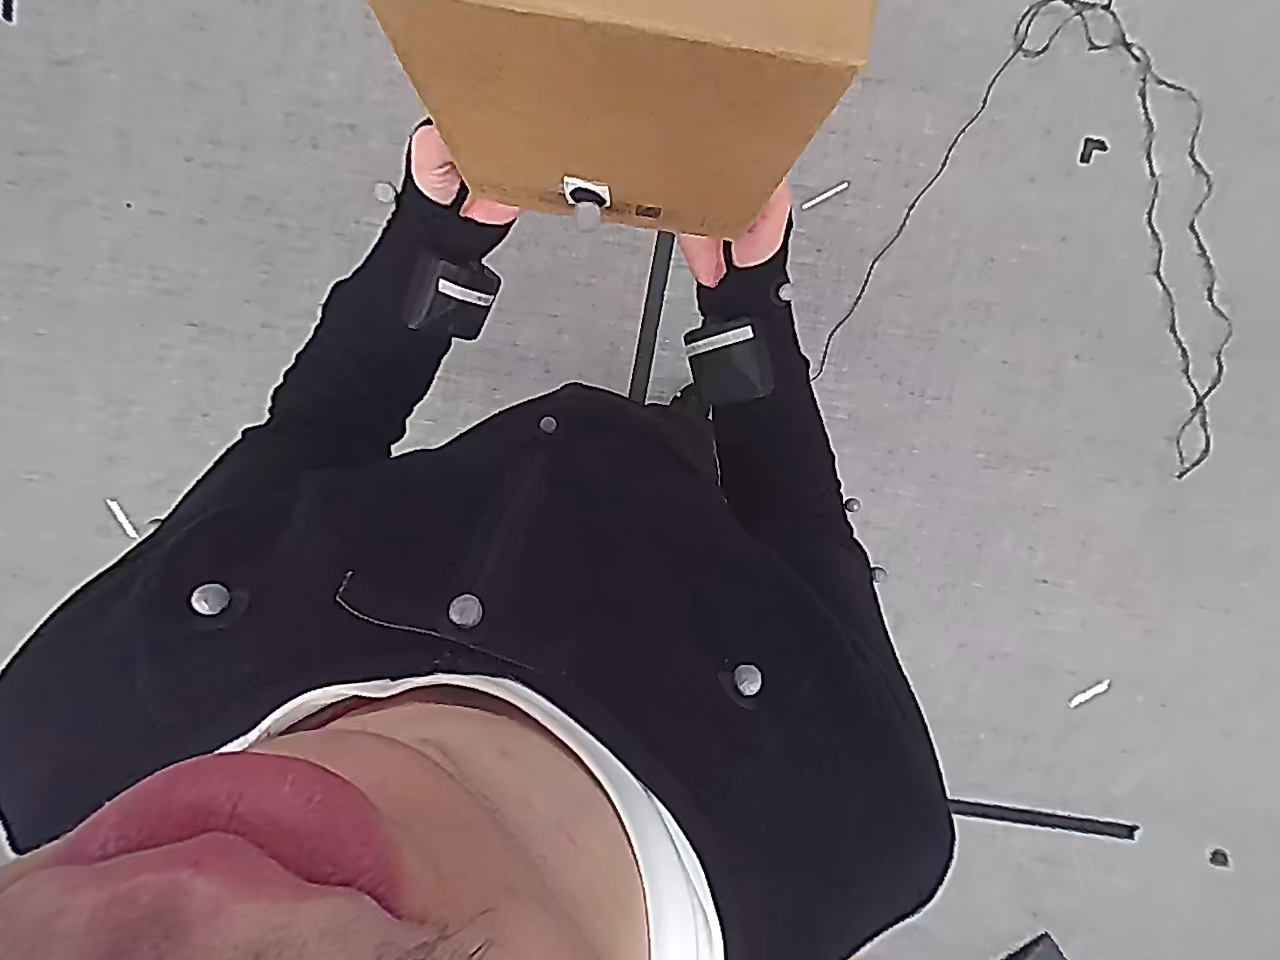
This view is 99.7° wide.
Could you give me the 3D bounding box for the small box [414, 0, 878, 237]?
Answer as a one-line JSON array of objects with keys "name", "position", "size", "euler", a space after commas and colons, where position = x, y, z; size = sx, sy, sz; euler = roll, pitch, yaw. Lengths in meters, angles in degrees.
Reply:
[{"name": "small box", "position": [0.003, -0.242, 0.255], "size": [0.168, 0.176, 0.179], "euler": [6, 95, -4]}]
